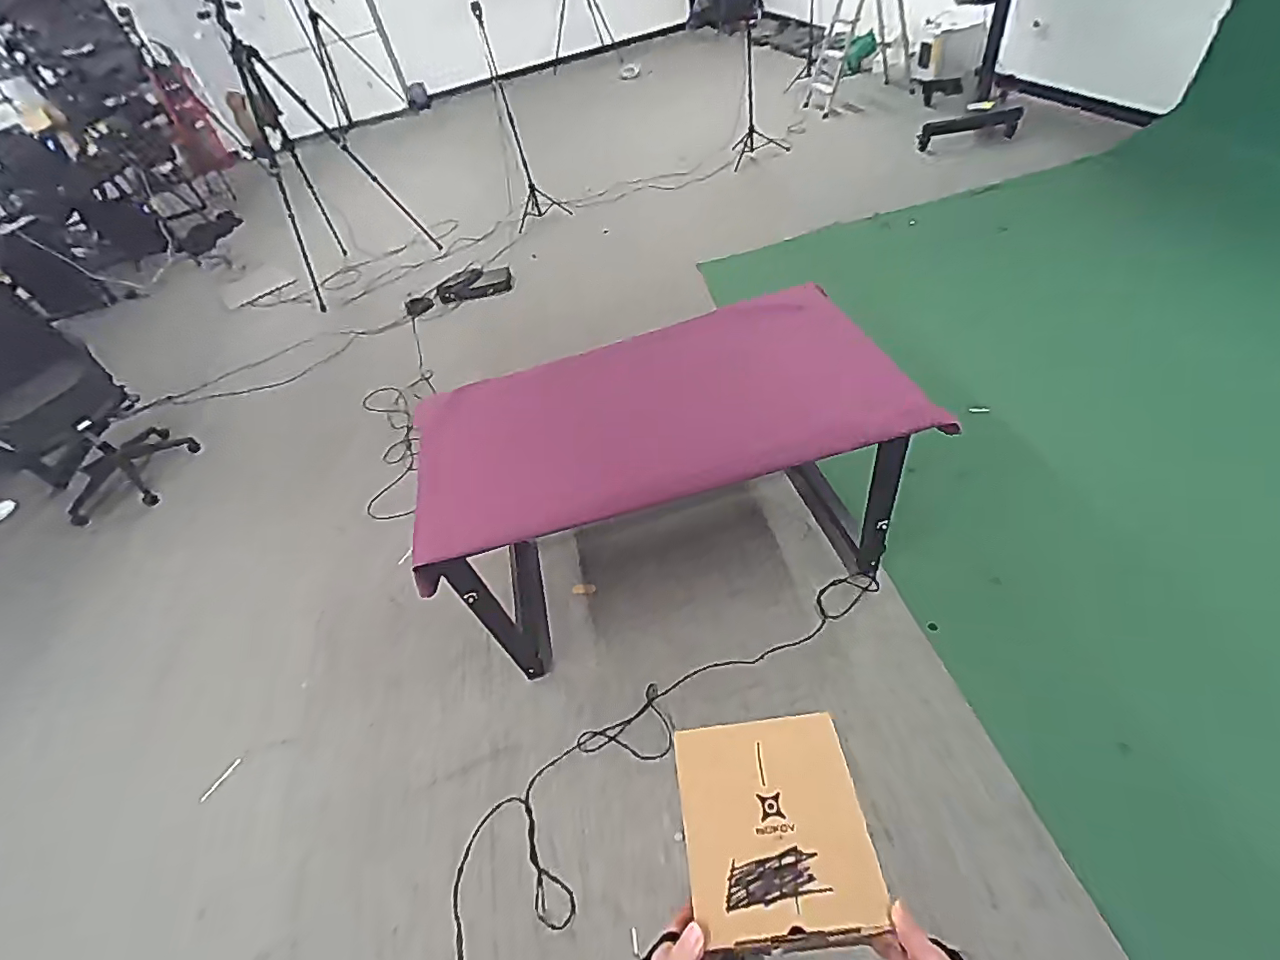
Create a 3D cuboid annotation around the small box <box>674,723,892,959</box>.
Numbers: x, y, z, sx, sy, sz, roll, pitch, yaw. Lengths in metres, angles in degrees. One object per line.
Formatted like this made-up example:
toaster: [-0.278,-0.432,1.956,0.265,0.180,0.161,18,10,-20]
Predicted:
small box: [0.131,0.377,0.557,0.168,0.176,0.179,-8,46,1]
